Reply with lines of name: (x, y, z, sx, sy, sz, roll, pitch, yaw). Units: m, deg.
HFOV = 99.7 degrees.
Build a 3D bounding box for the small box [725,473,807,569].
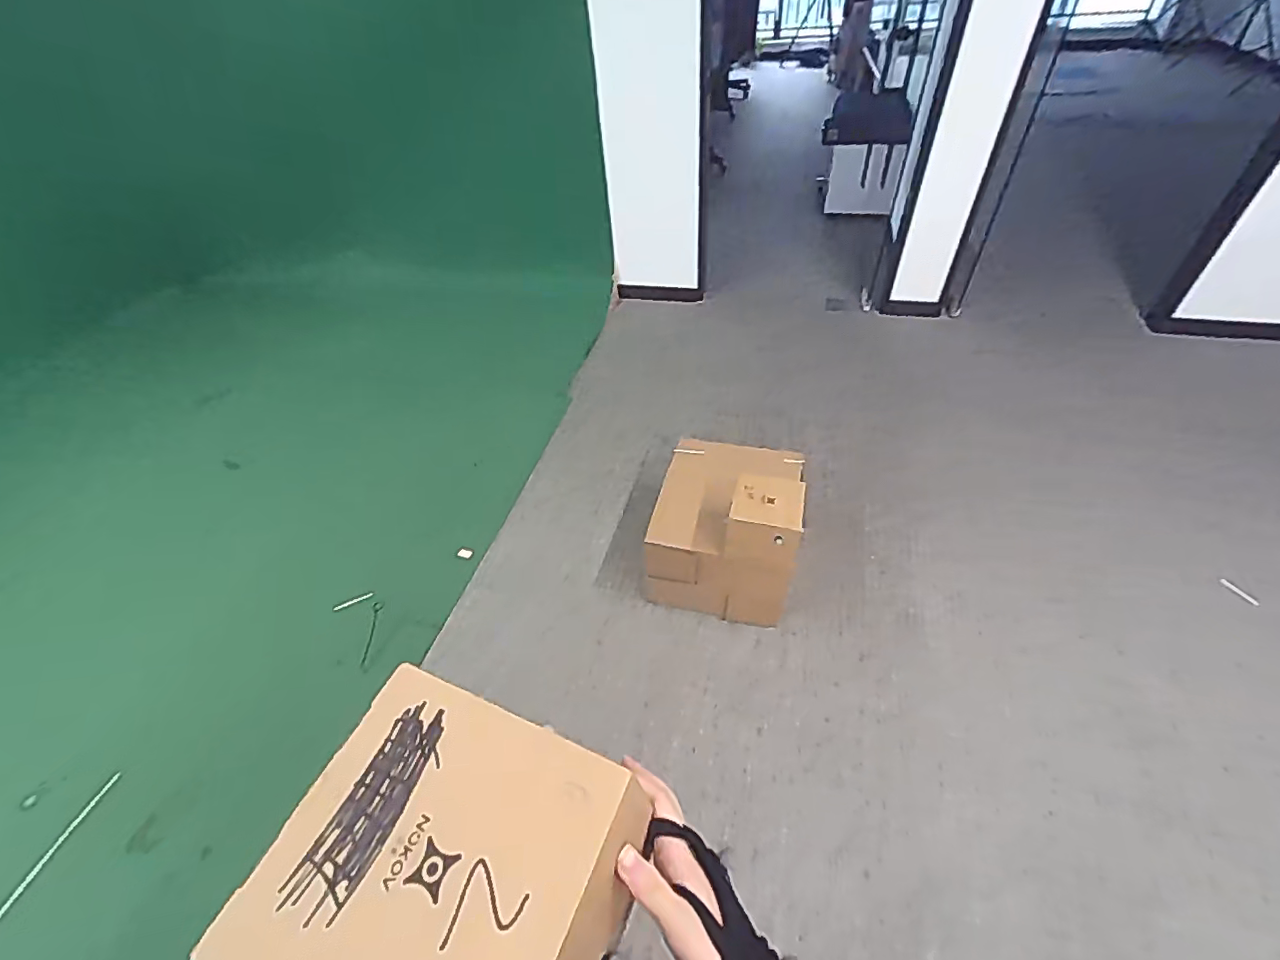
small box: (0.322, 0.107, 1.393, 0.179, 0.176, 0.168, 9, 47, 14)
